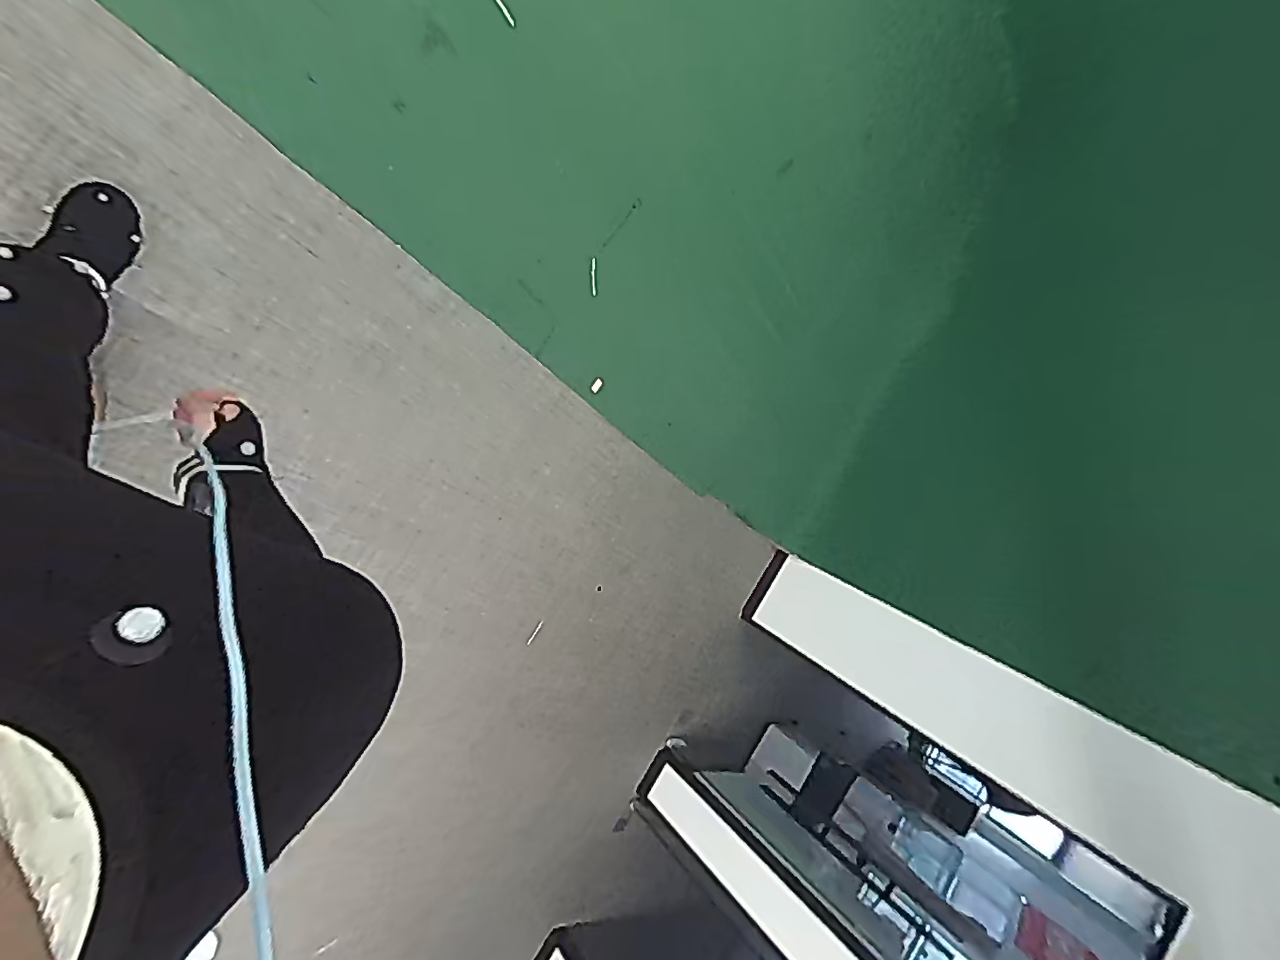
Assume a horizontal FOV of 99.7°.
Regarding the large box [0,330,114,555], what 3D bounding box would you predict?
[{"bbox_3d":[-1.225,-0.120,0.910,0.408,0.320,0.320,34,86,-47],"label":"large box"}]
